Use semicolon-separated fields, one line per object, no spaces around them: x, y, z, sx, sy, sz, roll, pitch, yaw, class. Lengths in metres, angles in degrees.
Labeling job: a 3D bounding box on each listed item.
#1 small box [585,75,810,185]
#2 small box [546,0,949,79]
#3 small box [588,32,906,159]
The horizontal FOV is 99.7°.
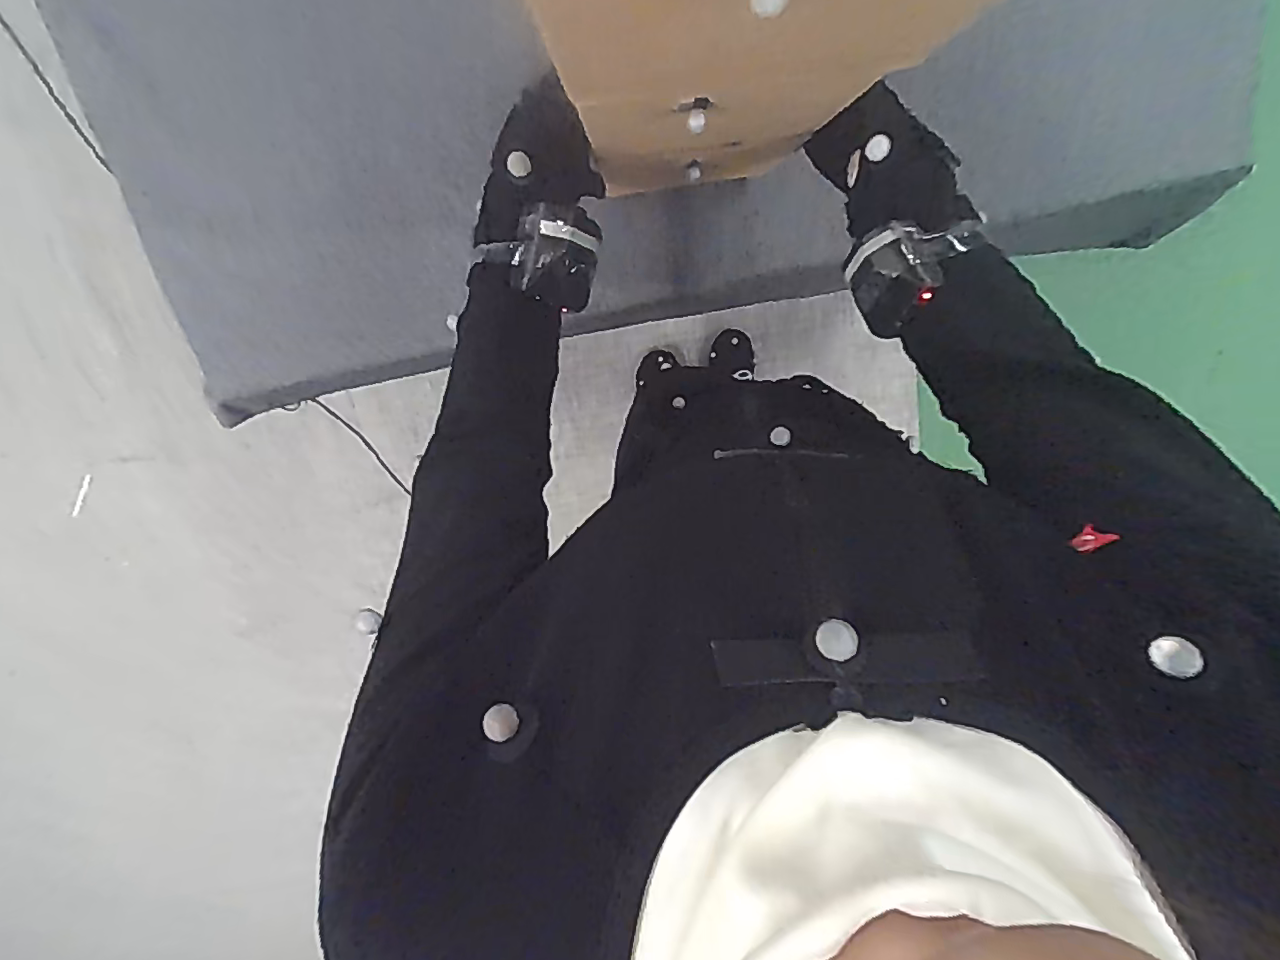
0.041;-0.372;0.475;0.179;0.176;0.168;-8;111;2;small box
0.043;-0.252;0.169;0.179;0.176;0.168;-4;112;1;small box
0.042;-0.317;0.324;0.168;0.176;0.179;-8;112;2;small box
